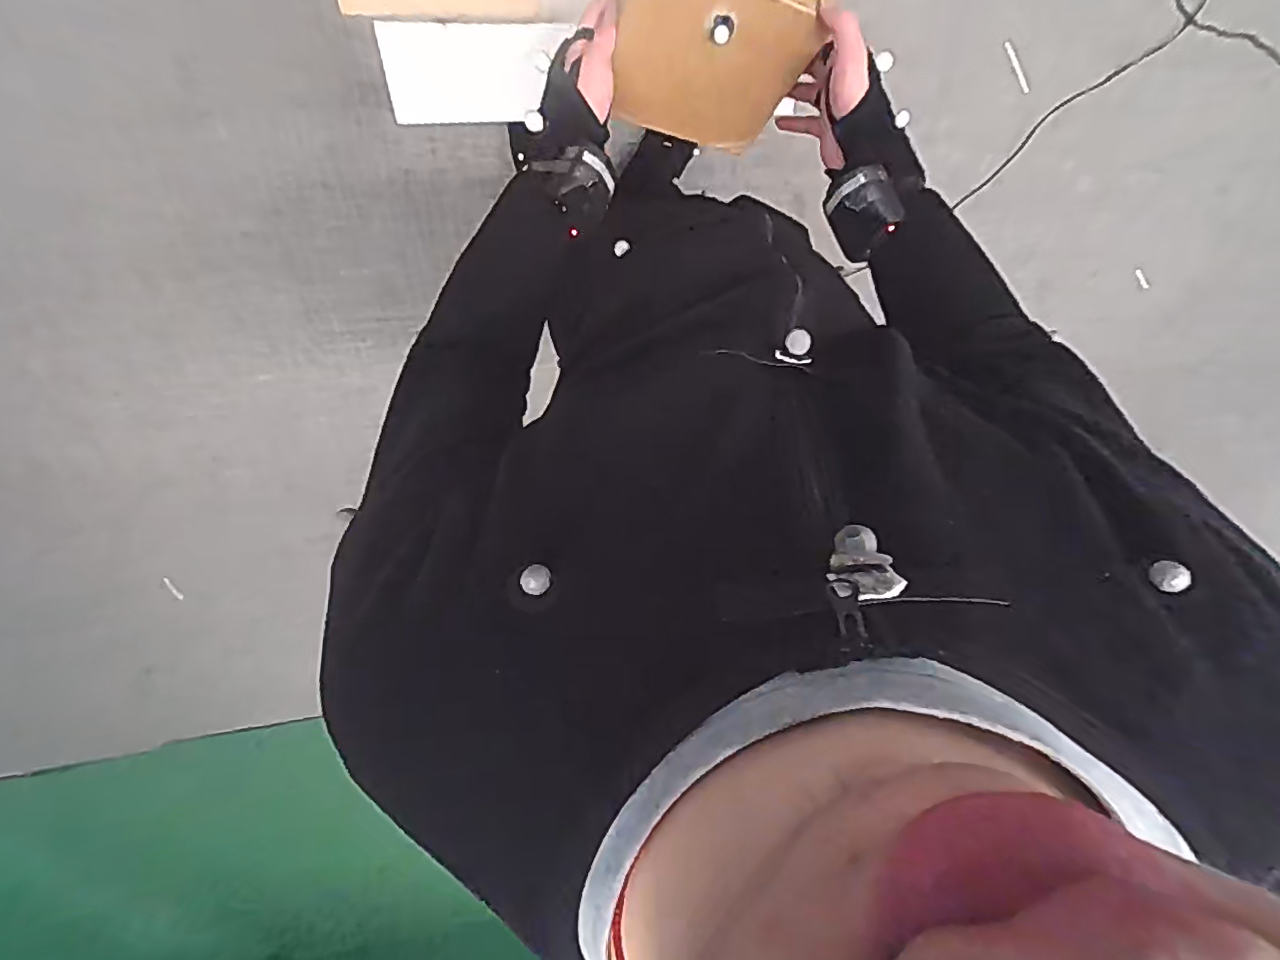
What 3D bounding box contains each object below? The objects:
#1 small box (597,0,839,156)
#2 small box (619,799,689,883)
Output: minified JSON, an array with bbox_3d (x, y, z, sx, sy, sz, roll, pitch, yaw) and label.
[{"bbox_3d":[0.064,-0.454,0.519,0.179,0.168,0.176,6,170,-20],"label":"small box"},{"bbox_3d":[0.038,1.130,1.703,0.179,0.176,0.168,-3,128,-11],"label":"small box"}]
